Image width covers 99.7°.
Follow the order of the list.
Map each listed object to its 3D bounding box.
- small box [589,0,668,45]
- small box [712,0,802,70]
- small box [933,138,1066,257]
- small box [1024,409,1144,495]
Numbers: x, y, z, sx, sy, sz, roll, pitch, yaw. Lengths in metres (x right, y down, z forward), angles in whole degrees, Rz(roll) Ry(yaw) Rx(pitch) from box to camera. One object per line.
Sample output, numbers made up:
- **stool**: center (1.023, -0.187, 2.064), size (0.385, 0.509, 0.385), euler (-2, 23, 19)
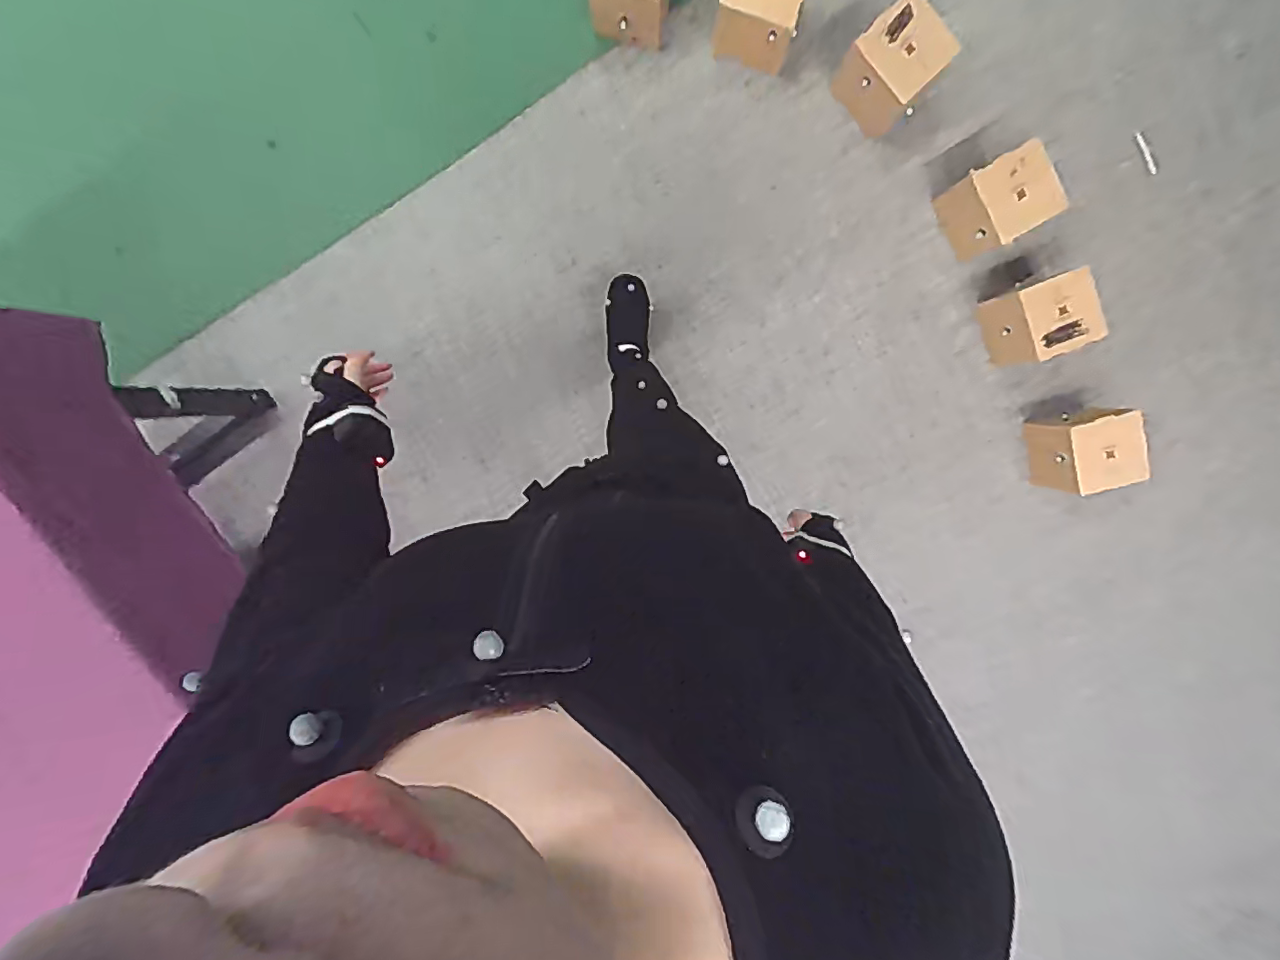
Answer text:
- **small box**: center (-0.017, -1.146, 1.229), size (0.168, 0.176, 0.179), euler (14, 99, -1)
- **small box**: center (0.275, -1.088, 1.233), size (0.179, 0.176, 0.168), euler (18, 98, -2)
- **small box**: center (0.841, -0.653, 1.281), size (0.168, 0.176, 0.179), euler (-30, 97, 5)
- **small box**: center (1.108, -0.077, 1.363), size (0.168, 0.176, 0.179), euler (-14, 99, 4)
